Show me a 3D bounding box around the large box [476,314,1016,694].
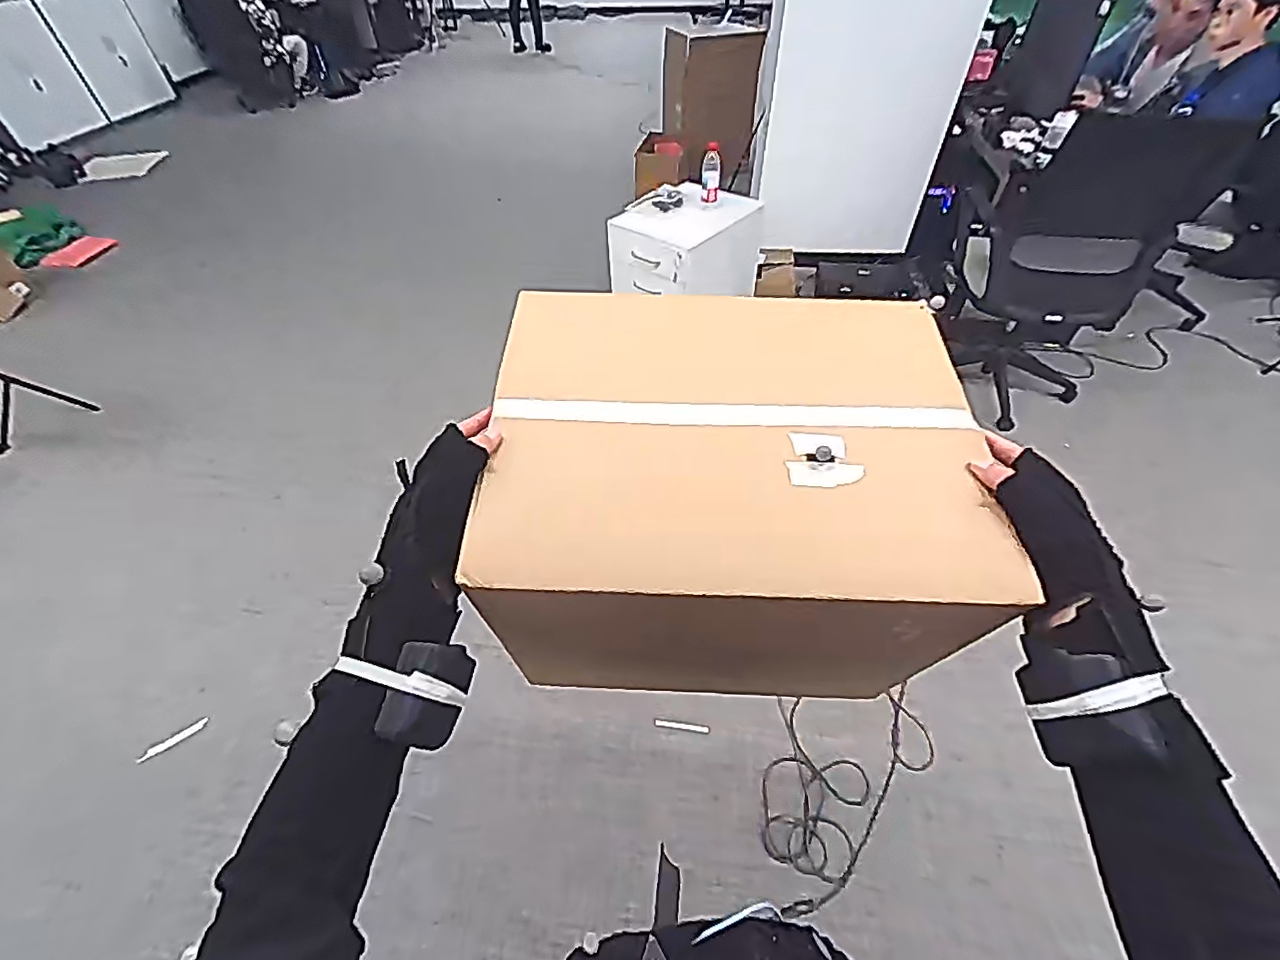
[{"bbox_3d":[0.077,0.041,0.596,0.408,0.320,0.320,2,58,0],"label":"large box"}]
